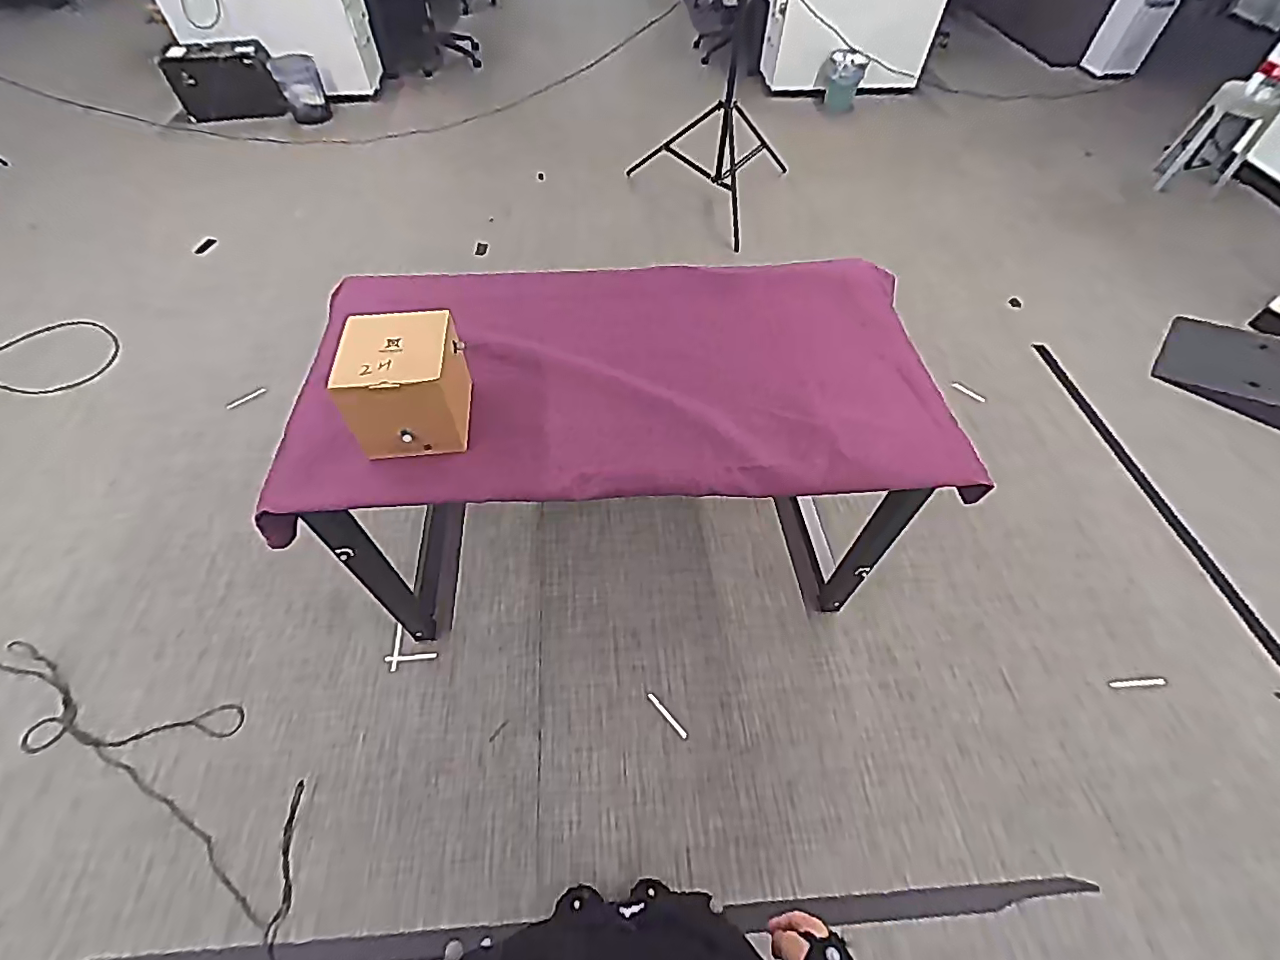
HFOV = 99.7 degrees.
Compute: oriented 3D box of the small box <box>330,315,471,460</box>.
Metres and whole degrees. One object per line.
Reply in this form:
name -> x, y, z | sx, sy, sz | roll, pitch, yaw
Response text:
small box -> -0.393, -0.157, 0.921 | 0.168, 0.176, 0.179 | -6, 54, -5
